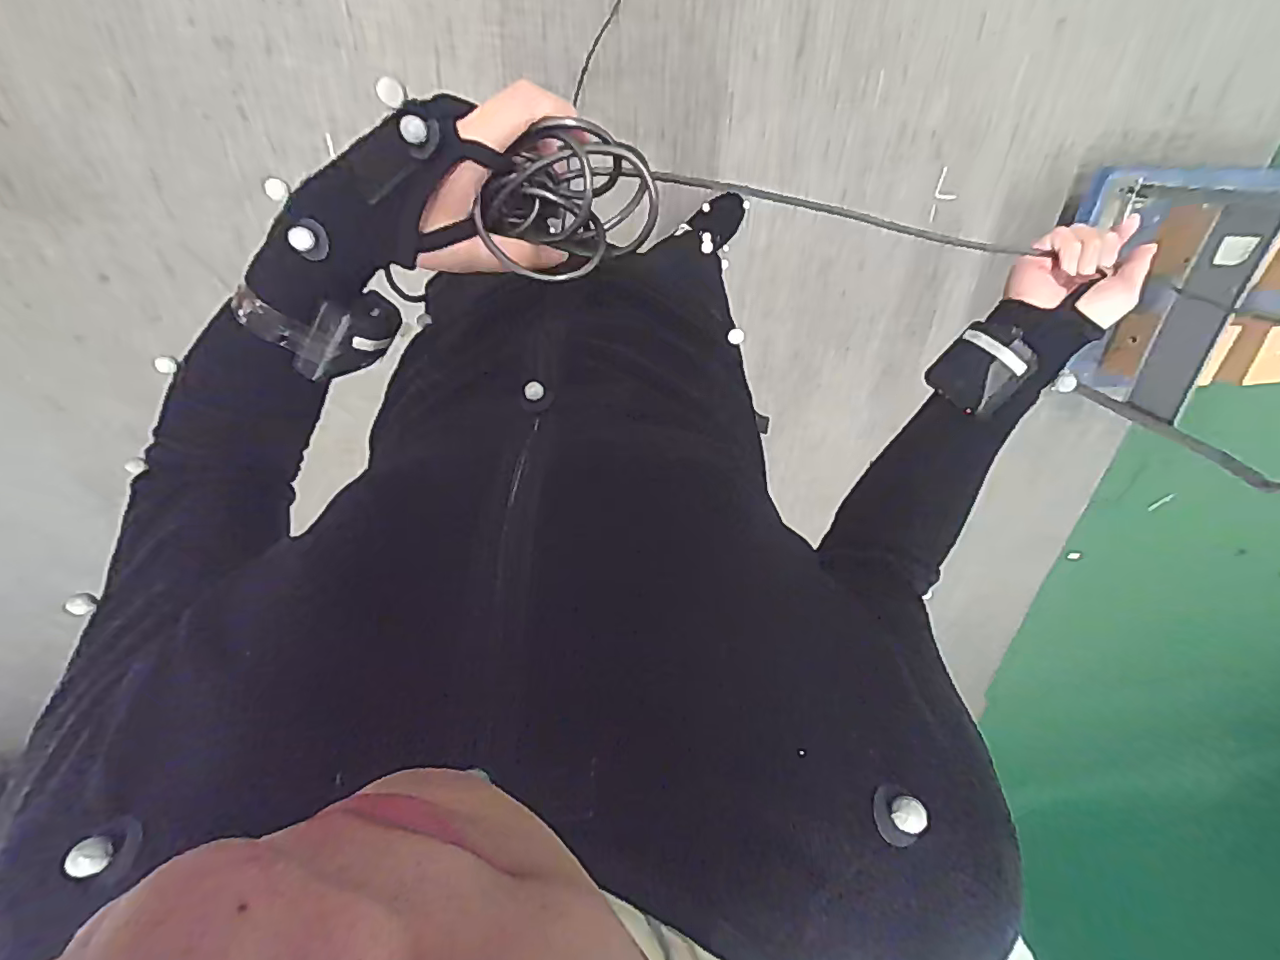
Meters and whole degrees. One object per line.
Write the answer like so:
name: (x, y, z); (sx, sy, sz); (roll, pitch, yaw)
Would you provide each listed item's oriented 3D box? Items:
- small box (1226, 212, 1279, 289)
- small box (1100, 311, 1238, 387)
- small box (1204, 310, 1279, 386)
small box: (1.701, -0.592, 1.393); (0.179, 0.176, 0.168); (-6, 122, -5)
small box: (1.447, -0.364, 1.493); (0.179, 0.176, 0.168); (-2, 121, -6)
small box: (1.715, -0.377, 1.523); (0.179, 0.176, 0.168); (-5, 120, -4)
